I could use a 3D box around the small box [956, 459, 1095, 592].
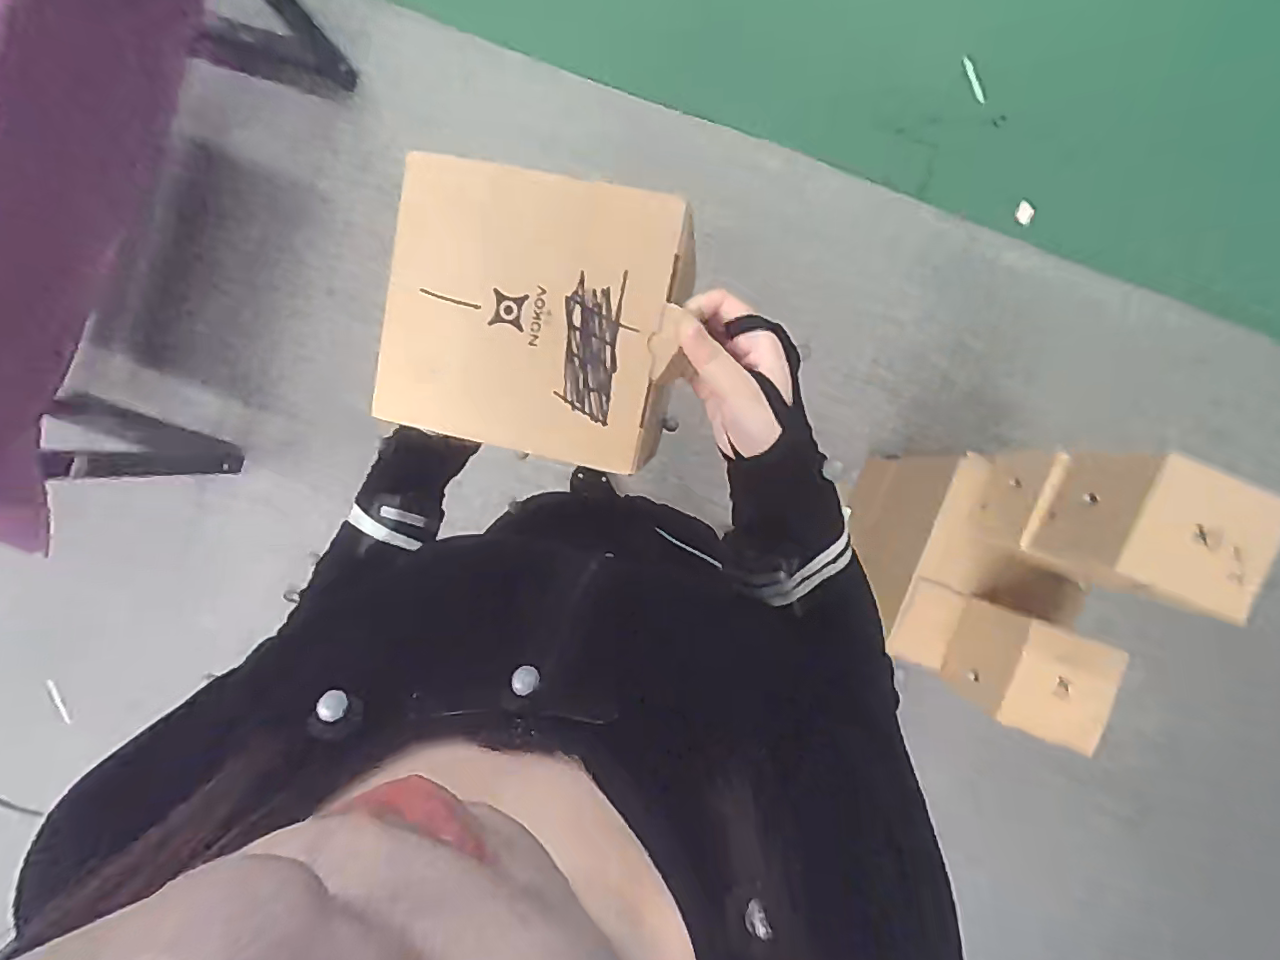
[{"bbox_3d":[0.698,0.073,0.944,0.179,0.176,0.168,23,93,0],"label":"small box"}]

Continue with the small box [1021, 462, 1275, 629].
[{"bbox_3d":[0.707,0.084,0.779,0.179,0.176,0.168,25,93,0],"label":"small box"}]
